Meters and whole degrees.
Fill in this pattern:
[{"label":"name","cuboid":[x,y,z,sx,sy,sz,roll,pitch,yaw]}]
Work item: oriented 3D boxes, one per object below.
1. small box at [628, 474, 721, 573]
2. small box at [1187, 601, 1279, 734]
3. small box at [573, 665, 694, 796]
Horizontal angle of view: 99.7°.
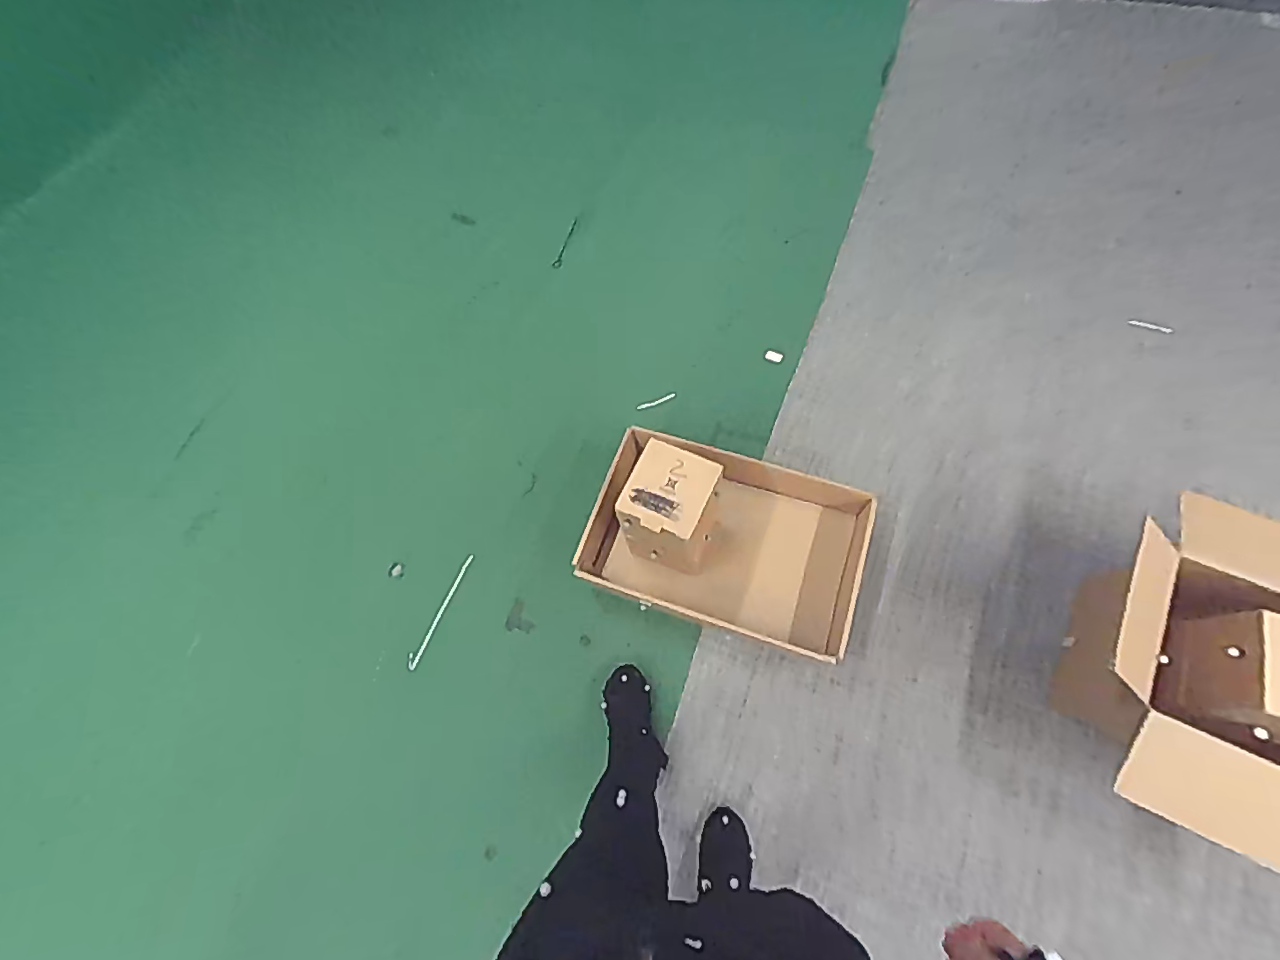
[{"label":"small box","cuboid":[0.086,0.112,1.311,0.179,0.176,0.168,18,70,12]},{"label":"small box","cuboid":[1.127,0.337,0.956,0.168,0.176,0.179,16,71,15]},{"label":"small box","cuboid":[-0.006,0.536,1.175,0.176,0.168,0.179,51,60,-11]}]
